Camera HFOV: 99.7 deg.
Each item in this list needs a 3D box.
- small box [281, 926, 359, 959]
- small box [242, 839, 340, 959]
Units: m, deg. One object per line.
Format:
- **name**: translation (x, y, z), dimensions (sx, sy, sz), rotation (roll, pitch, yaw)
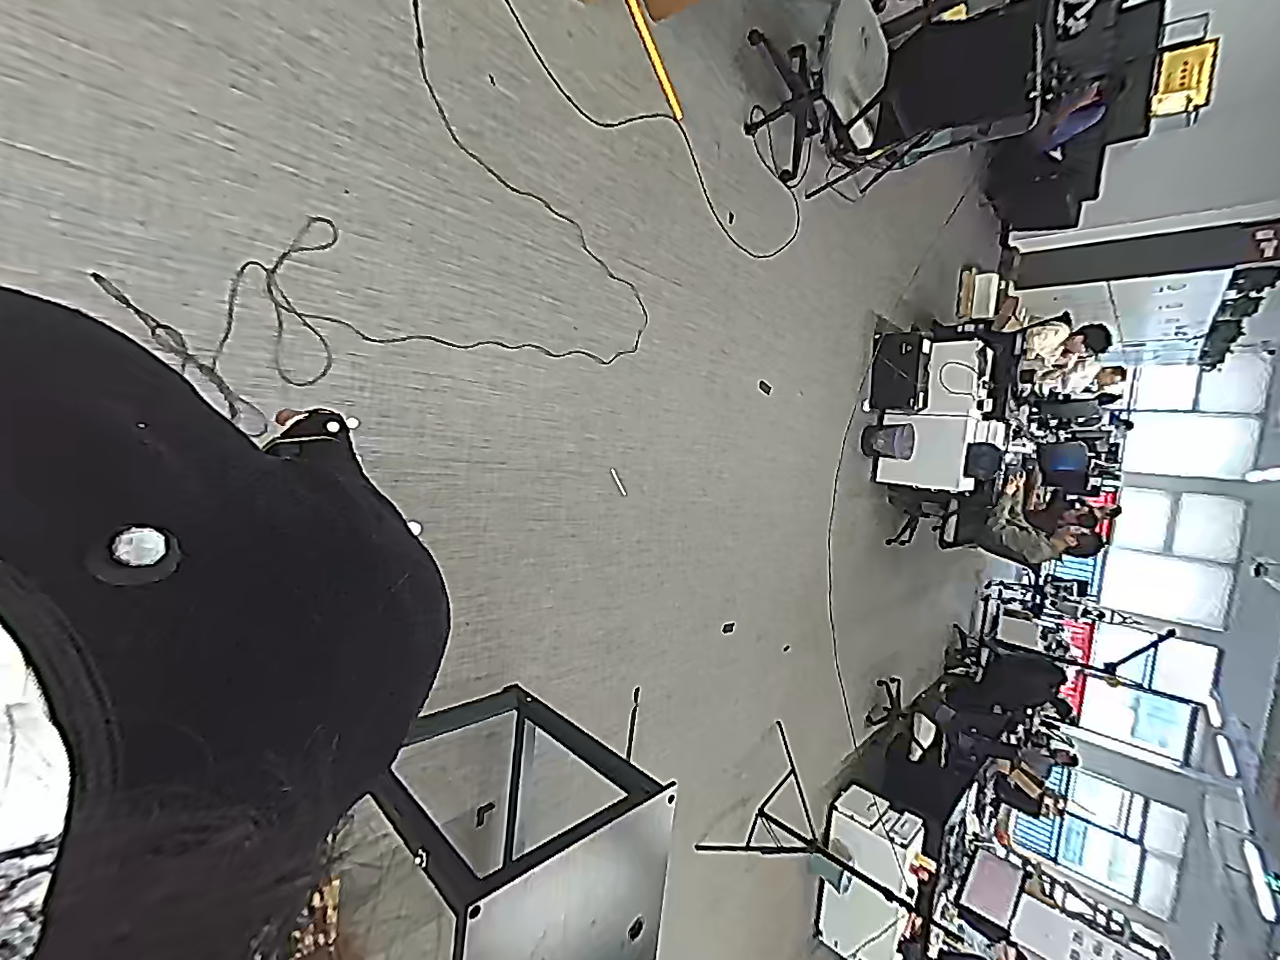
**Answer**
- **small box**: translation (-0.882, 1.367, 1.459), dimensions (0.168, 0.176, 0.179), rotation (32, 73, -46)
- **small box**: translation (-0.896, 1.074, 1.389), dimensions (0.179, 0.176, 0.168), rotation (1, 97, -45)
